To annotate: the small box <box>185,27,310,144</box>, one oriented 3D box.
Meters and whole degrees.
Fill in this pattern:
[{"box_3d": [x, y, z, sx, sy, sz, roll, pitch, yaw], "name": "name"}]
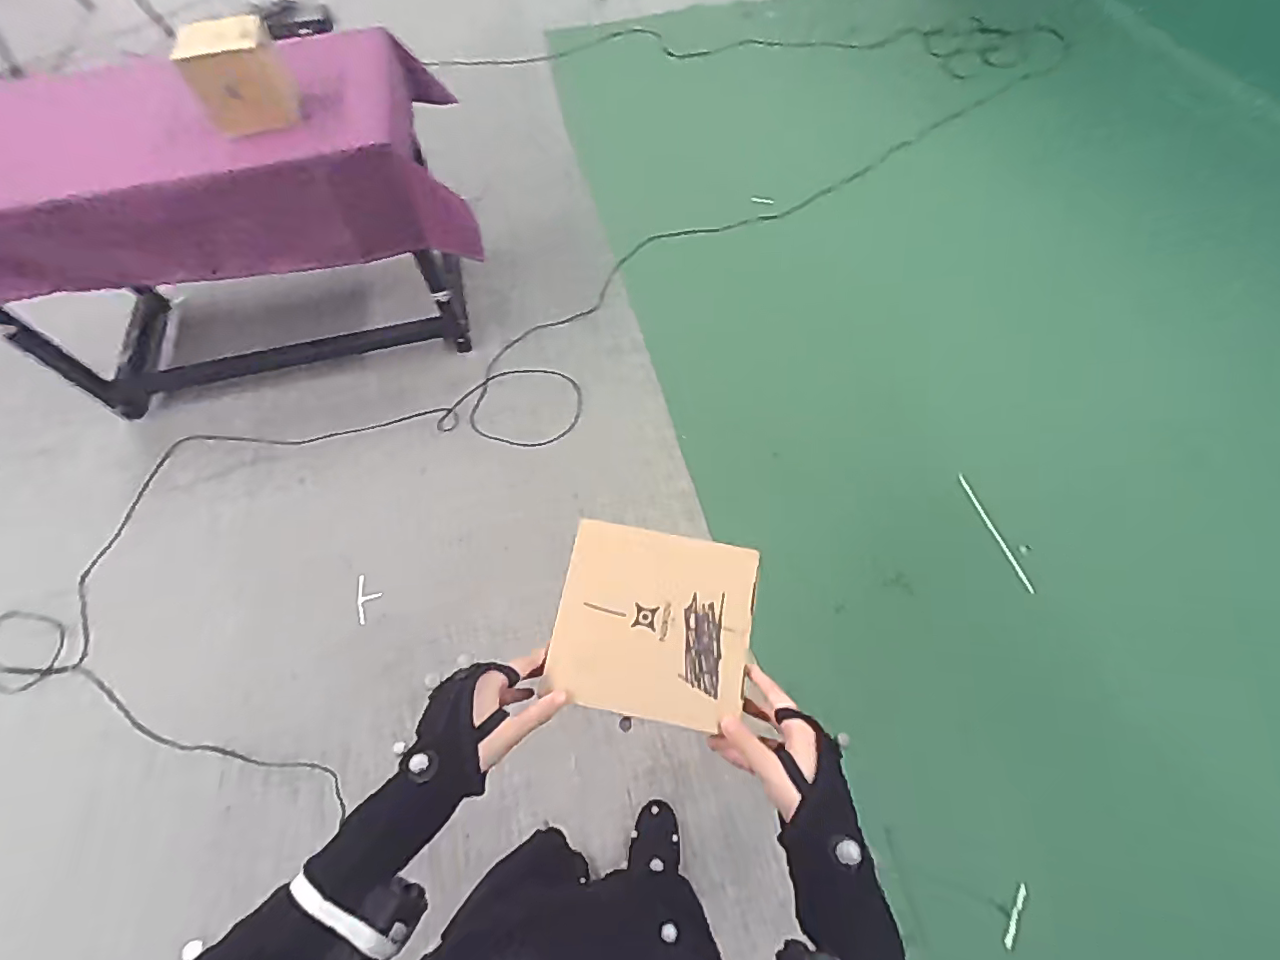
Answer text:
[{"box_3d": [-0.935, -0.944, 1.304, 0.179, 0.176, 0.168, -15, 61, -6], "name": "small box"}]
